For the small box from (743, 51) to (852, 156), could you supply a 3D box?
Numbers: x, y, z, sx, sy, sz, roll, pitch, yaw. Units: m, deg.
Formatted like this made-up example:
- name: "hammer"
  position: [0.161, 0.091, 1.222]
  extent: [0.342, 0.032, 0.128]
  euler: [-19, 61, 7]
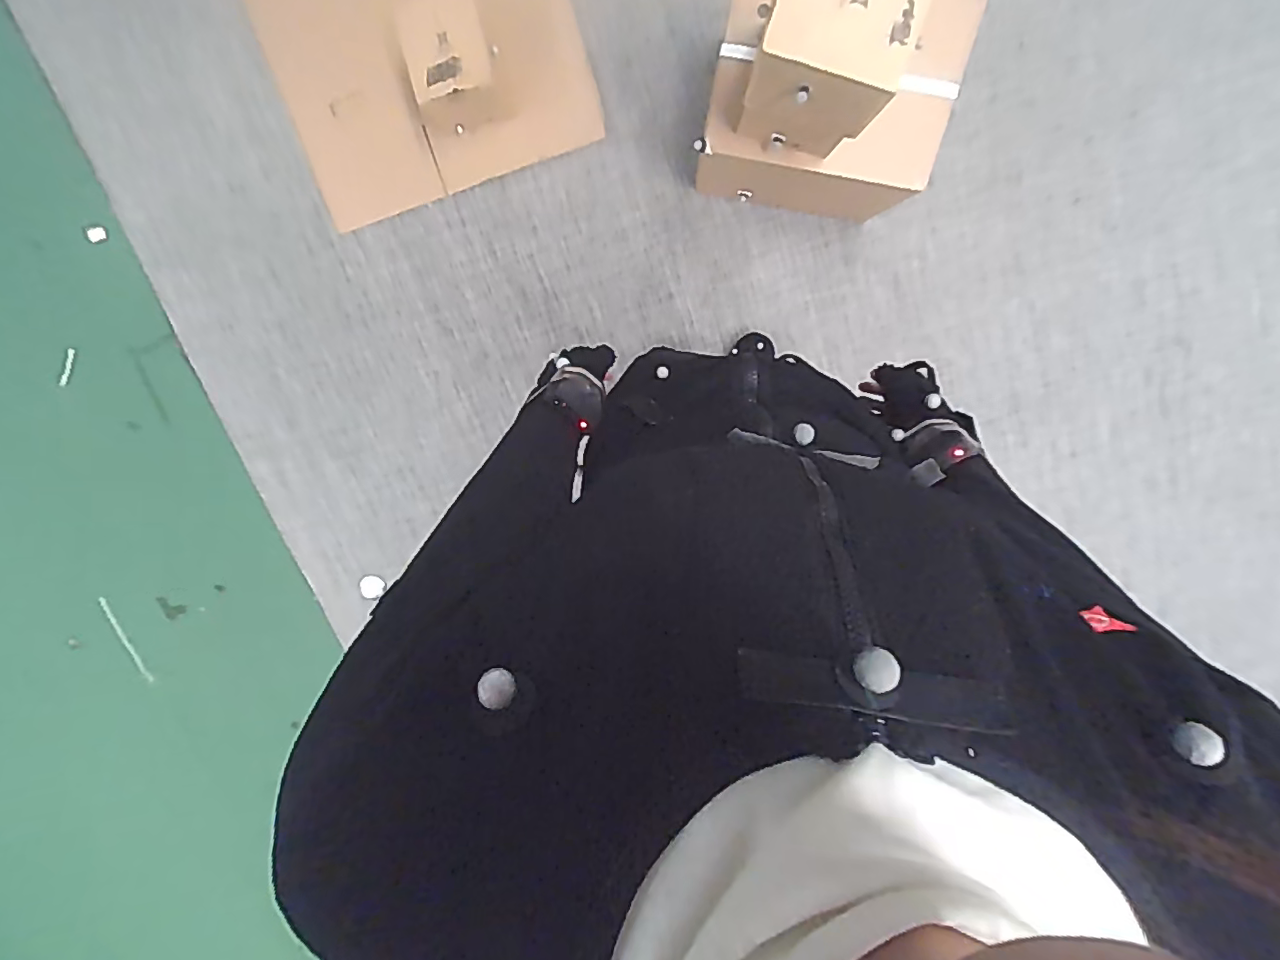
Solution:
- name: "small box"
  position: [0.266, -0.643, 0.849]
  extent: [0.168, 0.176, 0.179]
  euler: [14, 108, 1]

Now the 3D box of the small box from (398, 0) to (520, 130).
- name: "small box"
  position: [-0.368, -0.866, 1.135]
  extent: [0.168, 0.176, 0.179]
  euler: [-10, 103, 7]

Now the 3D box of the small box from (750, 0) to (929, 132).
- name: "small box"
  position: [0.252, -0.584, 0.699]
  extent: [0.179, 0.176, 0.168]
  euler: [14, 105, 0]
